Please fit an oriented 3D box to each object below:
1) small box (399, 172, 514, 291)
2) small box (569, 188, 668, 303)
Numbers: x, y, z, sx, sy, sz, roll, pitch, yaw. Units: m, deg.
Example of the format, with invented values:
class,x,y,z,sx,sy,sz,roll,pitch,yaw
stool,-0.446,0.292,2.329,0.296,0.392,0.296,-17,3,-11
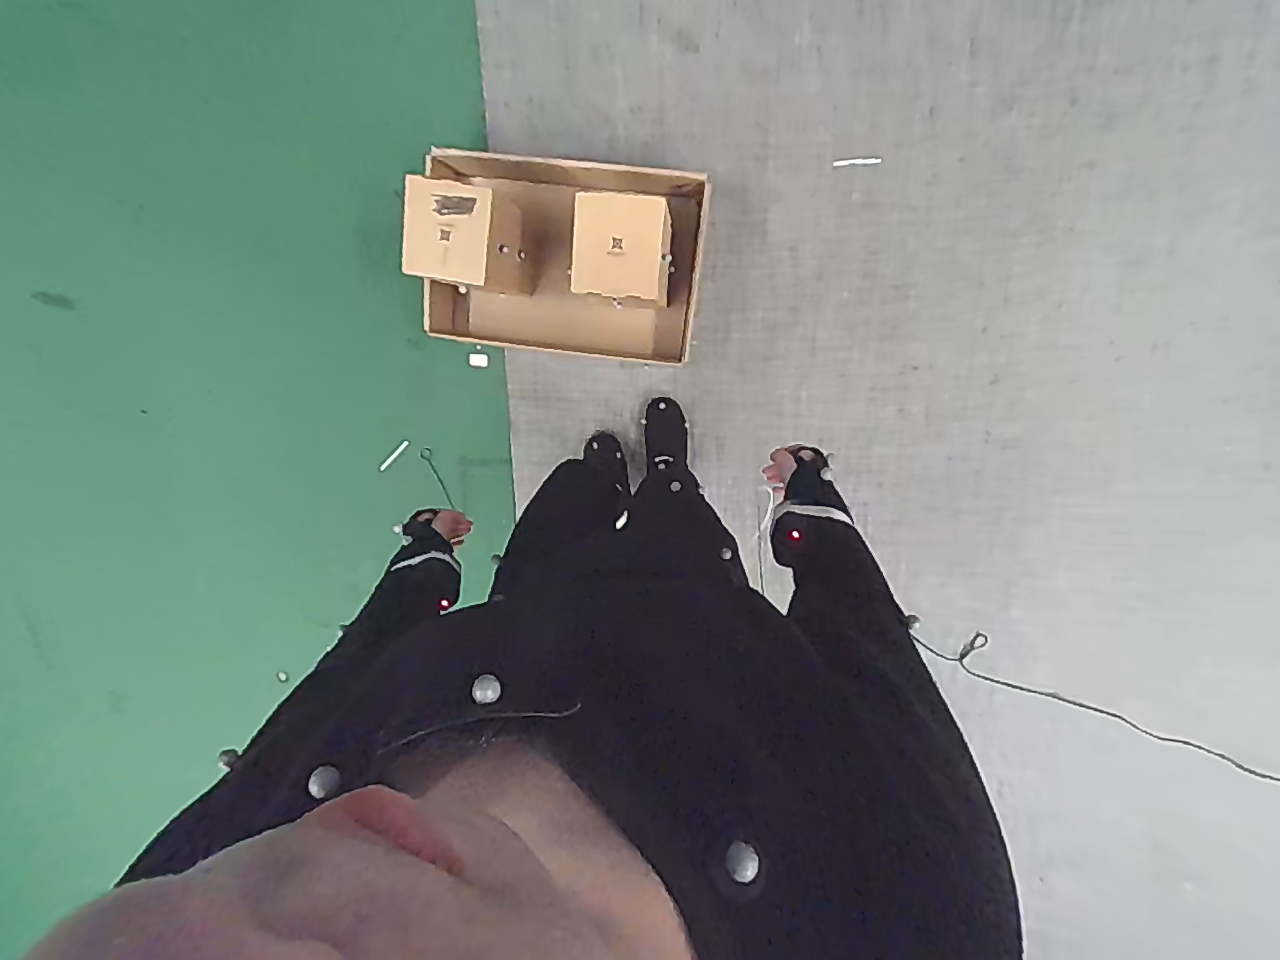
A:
class,x,y,z,sx,sy,sz,roll,pitch,yaw
small box,-0.359,-0.488,1.084,0.168,0.176,0.179,10,106,1
small box,-0.036,-0.451,1.063,0.168,0.176,0.179,7,106,4
